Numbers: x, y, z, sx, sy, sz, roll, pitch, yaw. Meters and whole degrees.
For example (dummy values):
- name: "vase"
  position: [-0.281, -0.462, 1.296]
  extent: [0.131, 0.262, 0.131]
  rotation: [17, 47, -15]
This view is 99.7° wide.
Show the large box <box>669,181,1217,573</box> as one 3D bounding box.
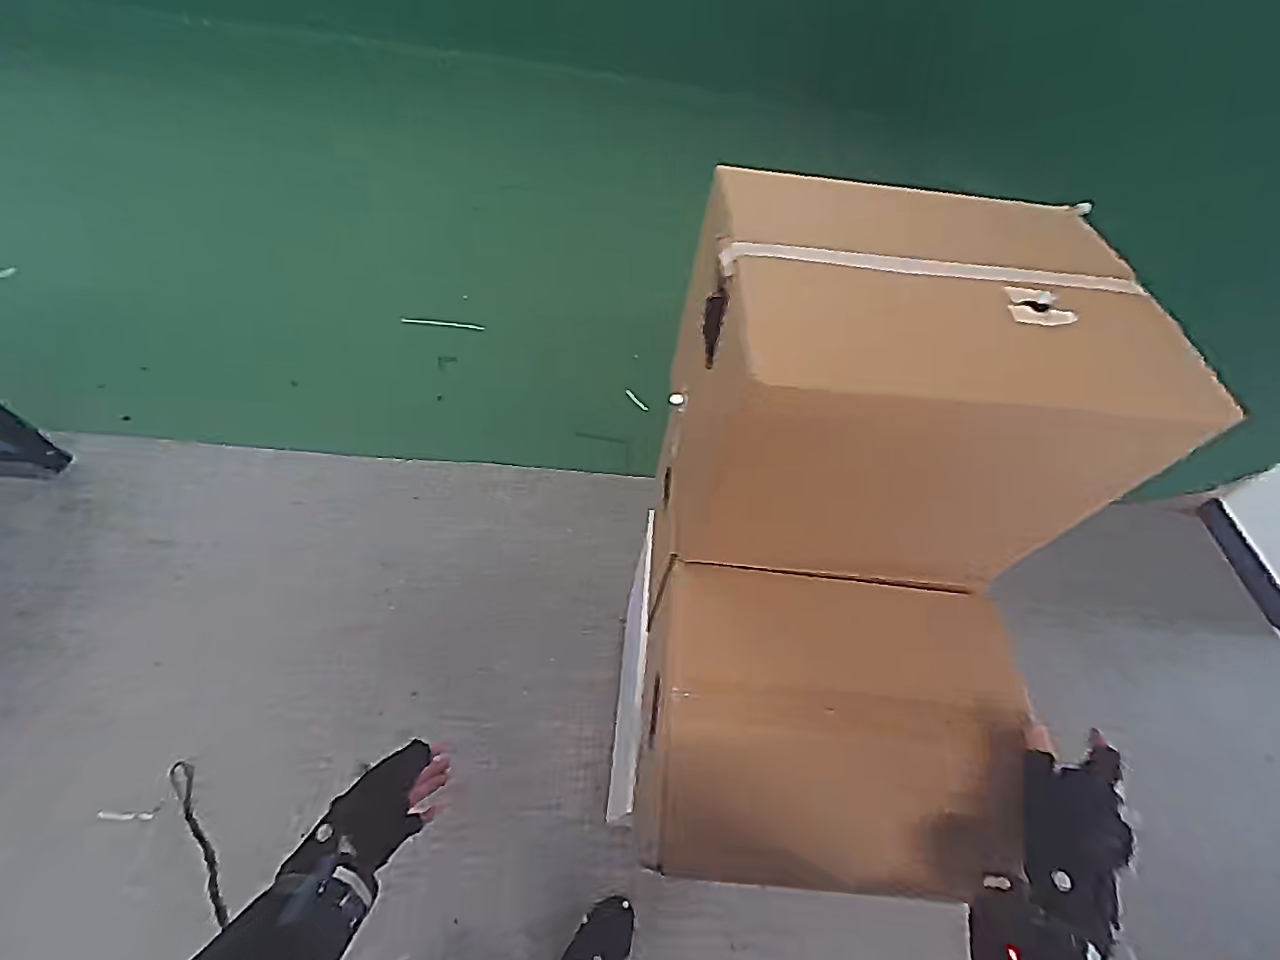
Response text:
- name: "large box"
  position: [0.260, -0.099, 0.629]
  extent: [0.408, 0.320, 0.320]
  rotation: [4, 55, -6]
